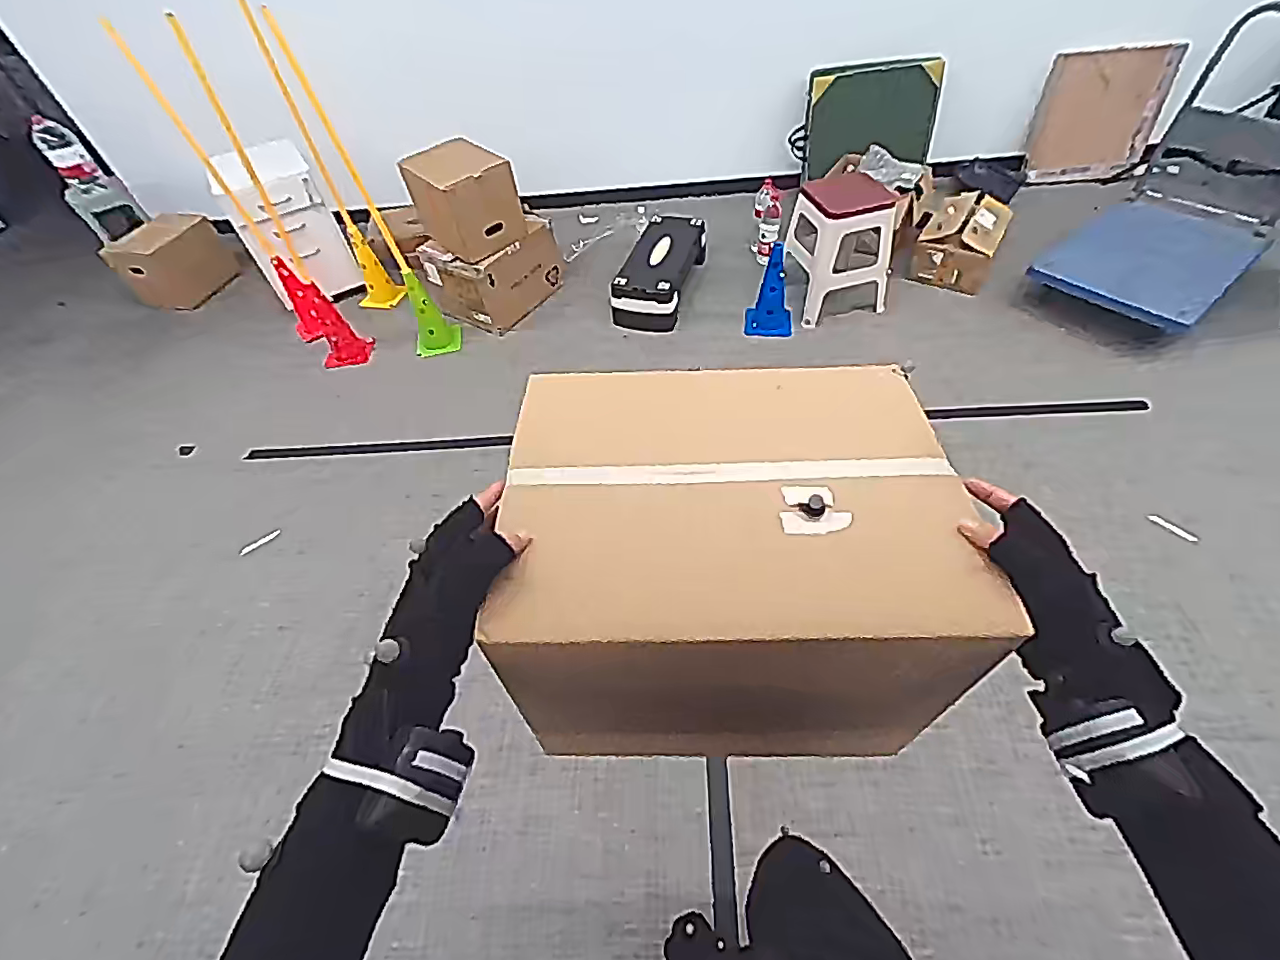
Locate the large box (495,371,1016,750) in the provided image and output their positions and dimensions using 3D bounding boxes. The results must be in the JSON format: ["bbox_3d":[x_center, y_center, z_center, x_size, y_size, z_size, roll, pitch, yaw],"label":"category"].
[{"bbox_3d":[0.086,0.096,0.613,0.408,0.320,0.320,-1,49,1],"label":"large box"}]
